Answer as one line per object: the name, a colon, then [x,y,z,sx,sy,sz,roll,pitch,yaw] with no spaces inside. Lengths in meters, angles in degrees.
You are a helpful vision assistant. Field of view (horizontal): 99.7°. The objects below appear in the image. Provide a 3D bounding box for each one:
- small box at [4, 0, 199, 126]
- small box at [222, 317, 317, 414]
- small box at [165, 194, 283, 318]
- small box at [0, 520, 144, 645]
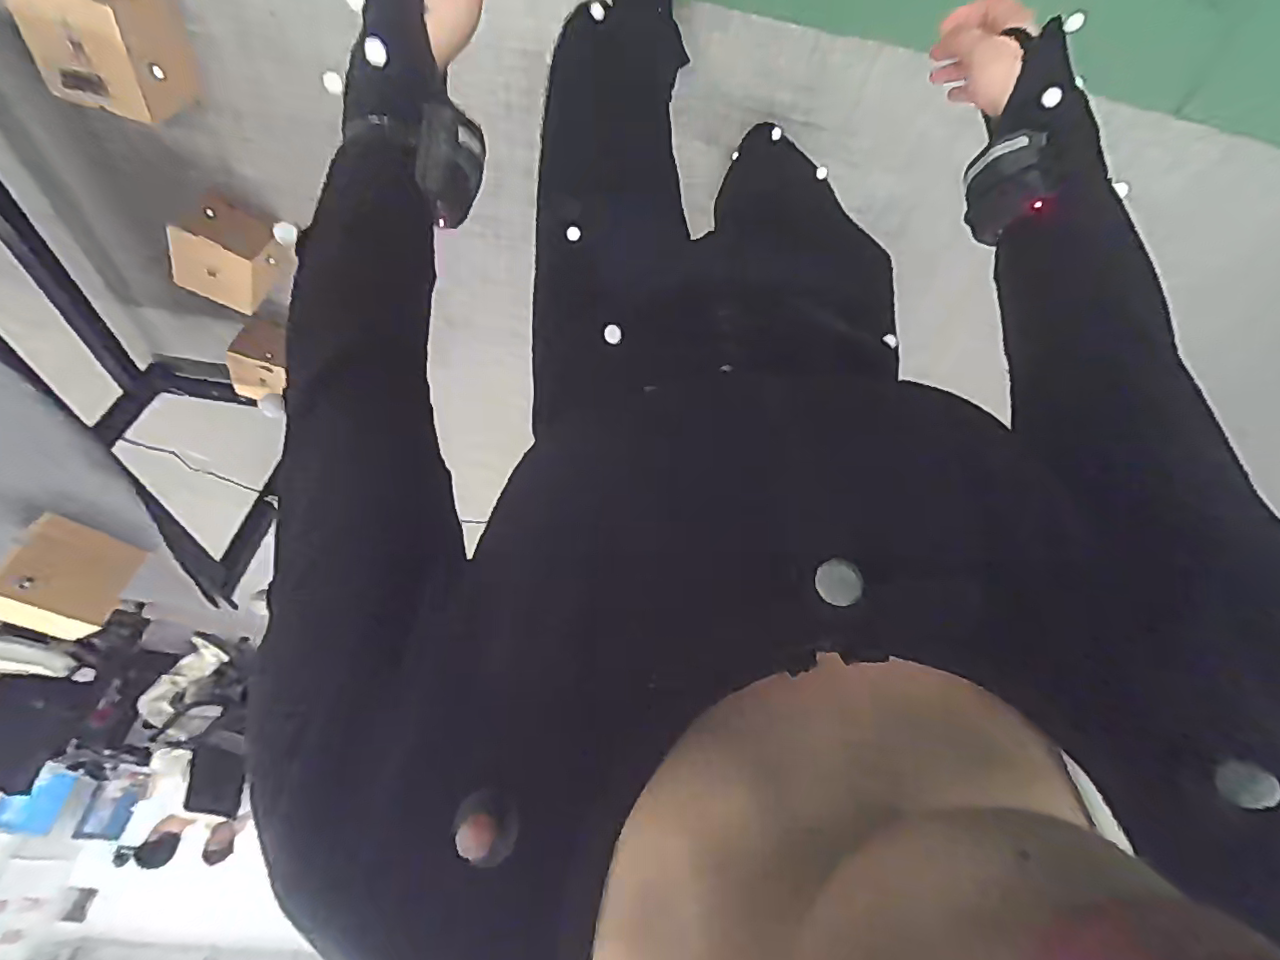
small box: [-0.934,-0.775,0.954,0.168,0.176,0.179,12,141,-11]
small box: [-1.047,-0.327,1.547,0.168,0.176,0.179,17,142,-16]
small box: [-0.971,-0.530,1.276,0.168,0.176,0.179,23,140,-21]
small box: [-1.130,0.201,1.046,0.168,0.176,0.179,-18,136,27]
